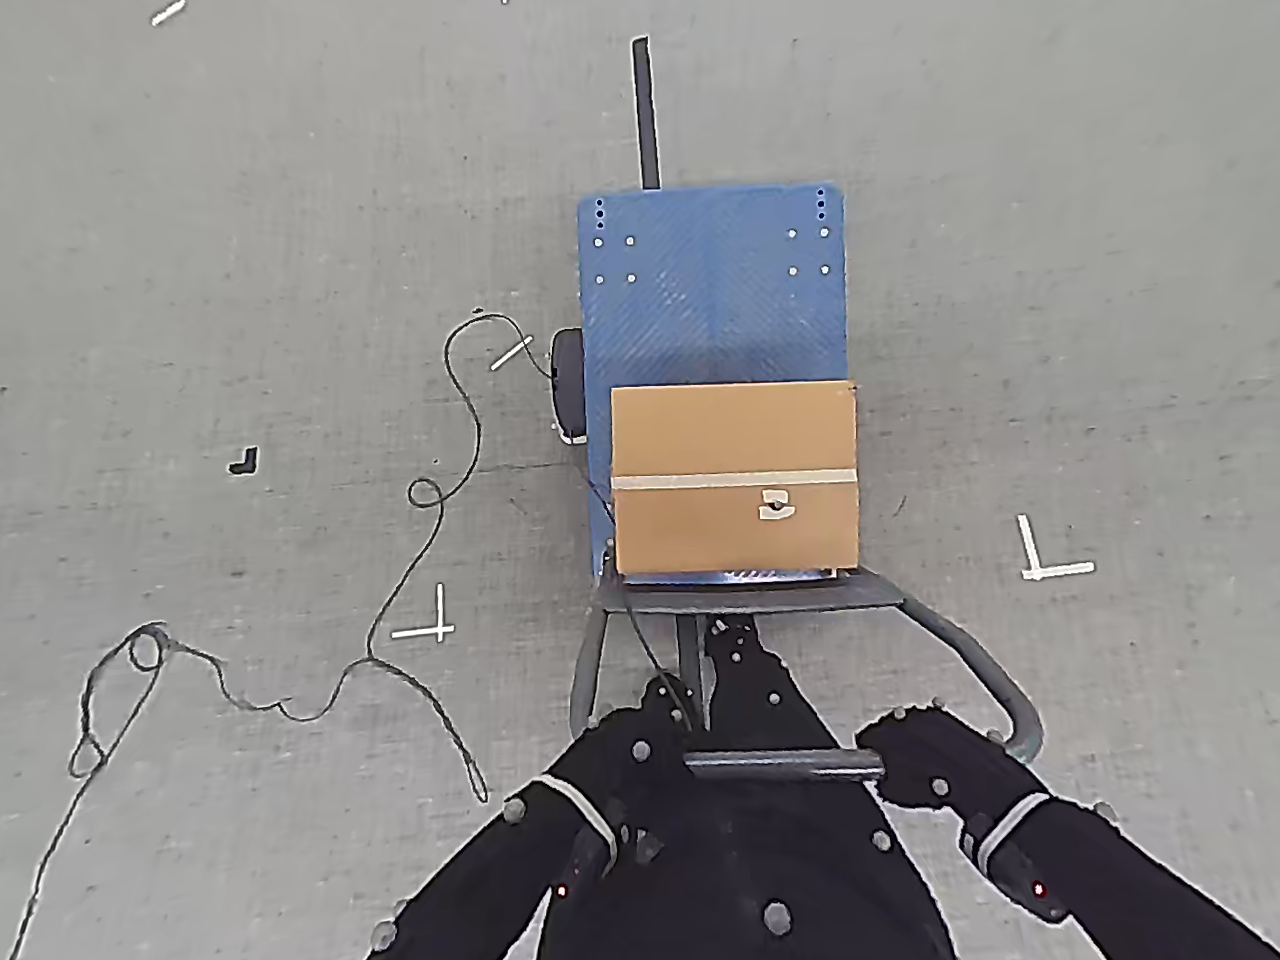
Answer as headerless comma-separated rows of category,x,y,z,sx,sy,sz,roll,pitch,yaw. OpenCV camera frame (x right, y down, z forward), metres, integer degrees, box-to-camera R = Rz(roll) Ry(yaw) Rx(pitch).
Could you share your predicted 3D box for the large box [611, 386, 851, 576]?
large box,0.156,-0.002,1.068,0.408,0.320,0.320,-2,93,0
